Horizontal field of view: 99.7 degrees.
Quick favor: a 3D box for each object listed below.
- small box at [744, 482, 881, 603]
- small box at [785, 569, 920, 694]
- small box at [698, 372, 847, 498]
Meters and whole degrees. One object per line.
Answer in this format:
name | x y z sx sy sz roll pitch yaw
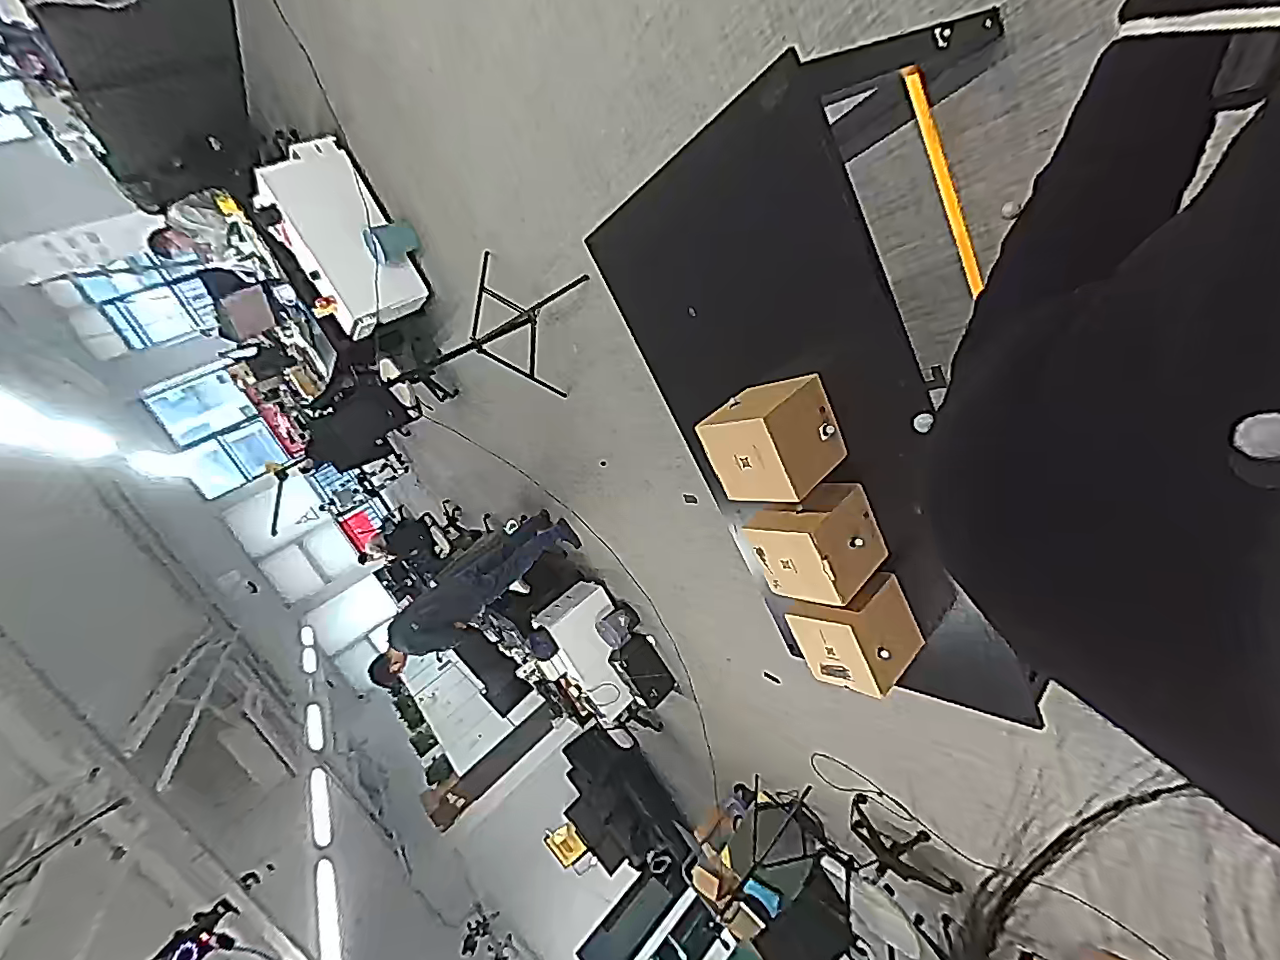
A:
small box | 0.345 0.113 1.061 0.179 0.176 0.168 -3 119 57
small box | 0.441 0.298 1.115 0.168 0.176 0.179 -7 114 59
small box | 0.246 -0.081 1.001 0.179 0.176 0.168 -2 121 57
